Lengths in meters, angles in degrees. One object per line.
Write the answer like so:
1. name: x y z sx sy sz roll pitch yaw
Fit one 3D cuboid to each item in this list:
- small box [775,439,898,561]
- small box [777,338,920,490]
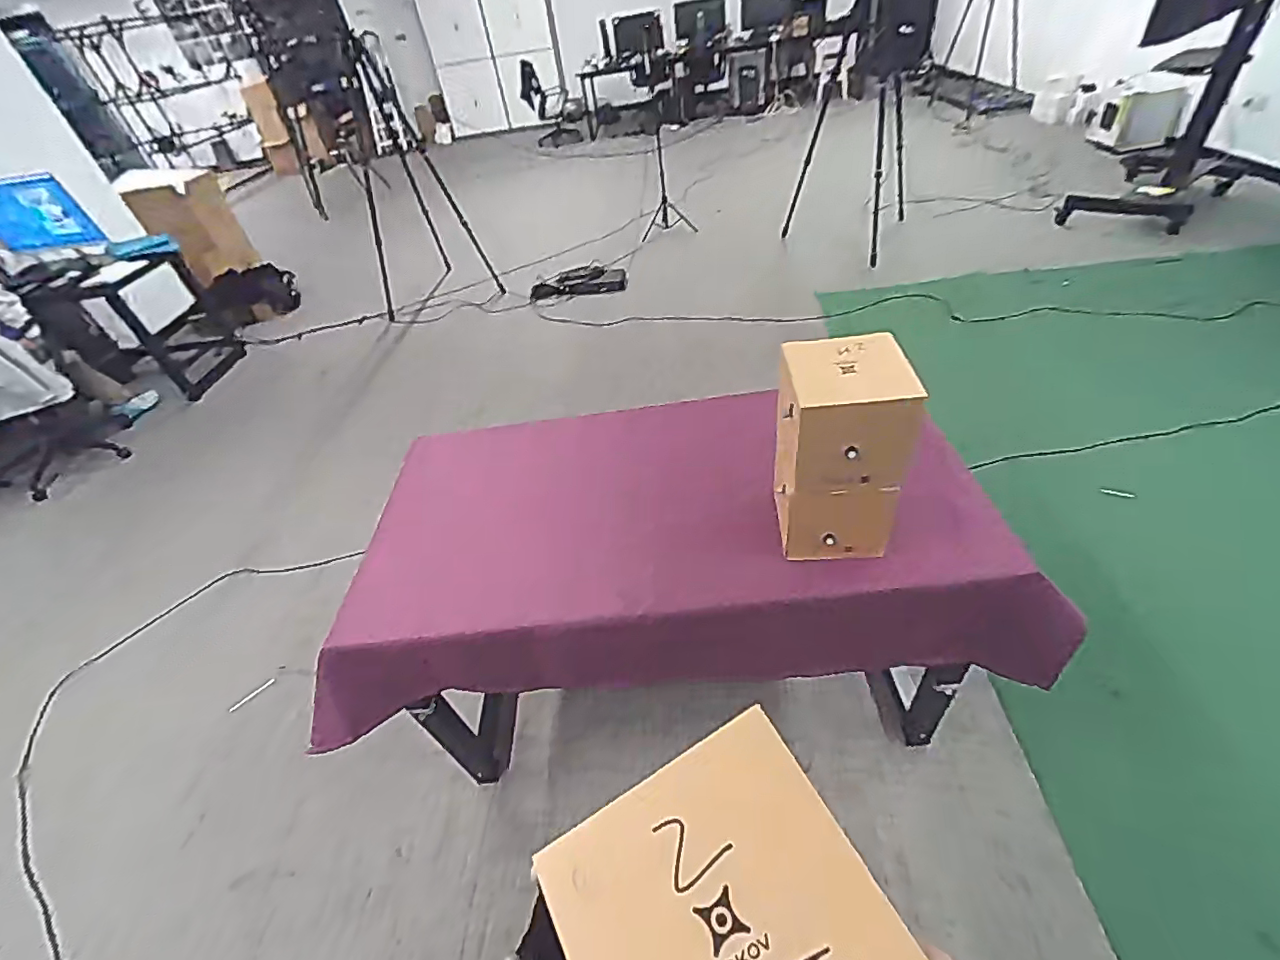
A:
1. small box: 0.332 0.024 0.953 0.168 0.176 0.179 -4 43 8
2. small box: 0.310 -0.097 0.843 0.168 0.176 0.179 -4 42 7
